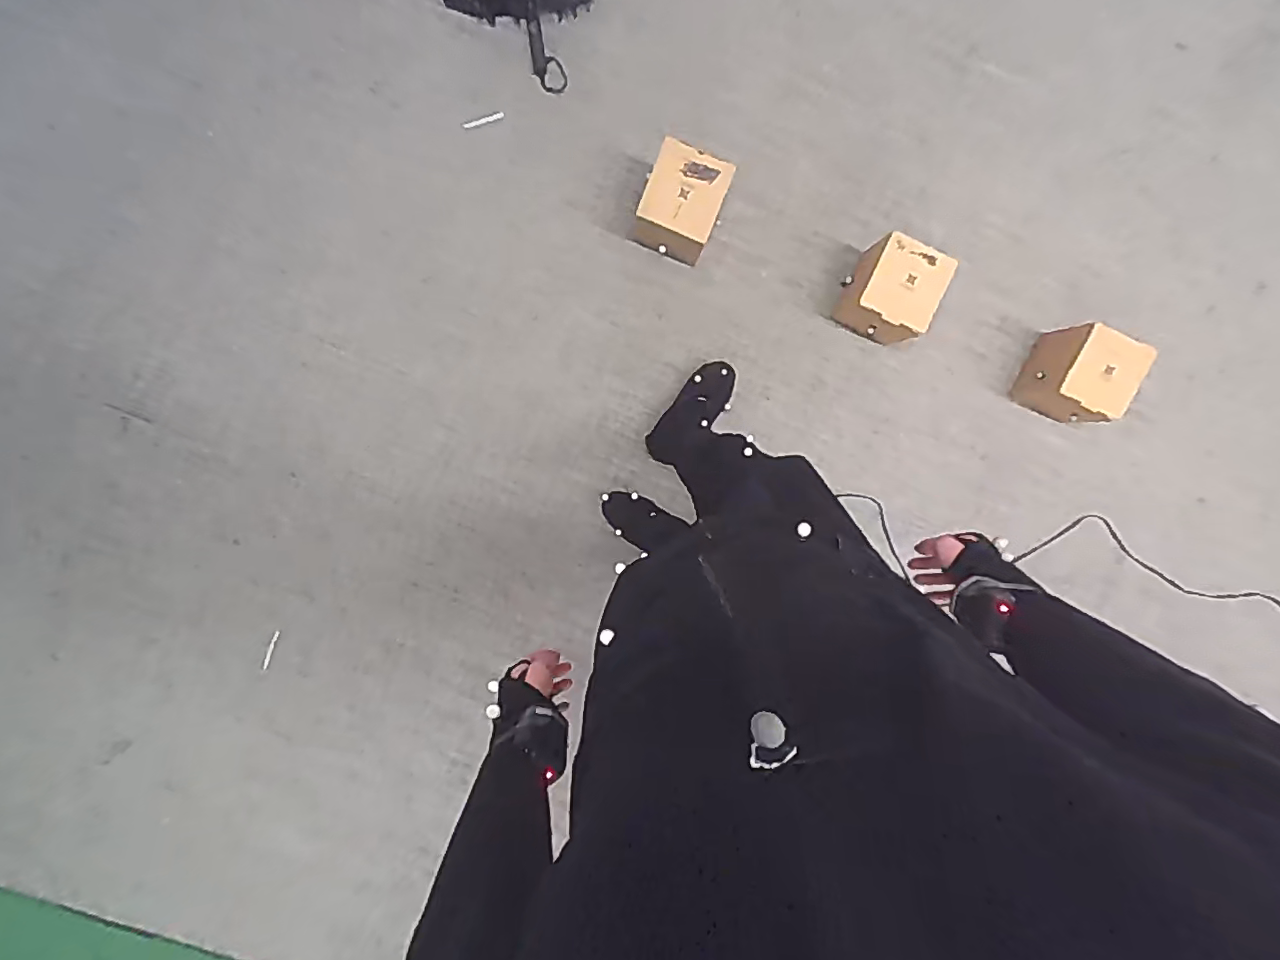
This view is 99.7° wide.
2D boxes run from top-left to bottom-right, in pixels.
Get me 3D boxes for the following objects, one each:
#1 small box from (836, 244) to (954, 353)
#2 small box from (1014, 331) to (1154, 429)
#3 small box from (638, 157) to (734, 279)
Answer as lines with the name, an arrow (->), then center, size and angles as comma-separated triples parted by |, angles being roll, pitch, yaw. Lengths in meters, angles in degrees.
small box -> 0.588, -0.416, 1.278 | 0.168, 0.176, 0.179 | 24, 95, -3
small box -> 1.053, -0.232, 1.302 | 0.168, 0.176, 0.179 | 23, 94, -3
small box -> 0.098, -0.596, 1.253 | 0.168, 0.176, 0.179 | 22, 96, -2
